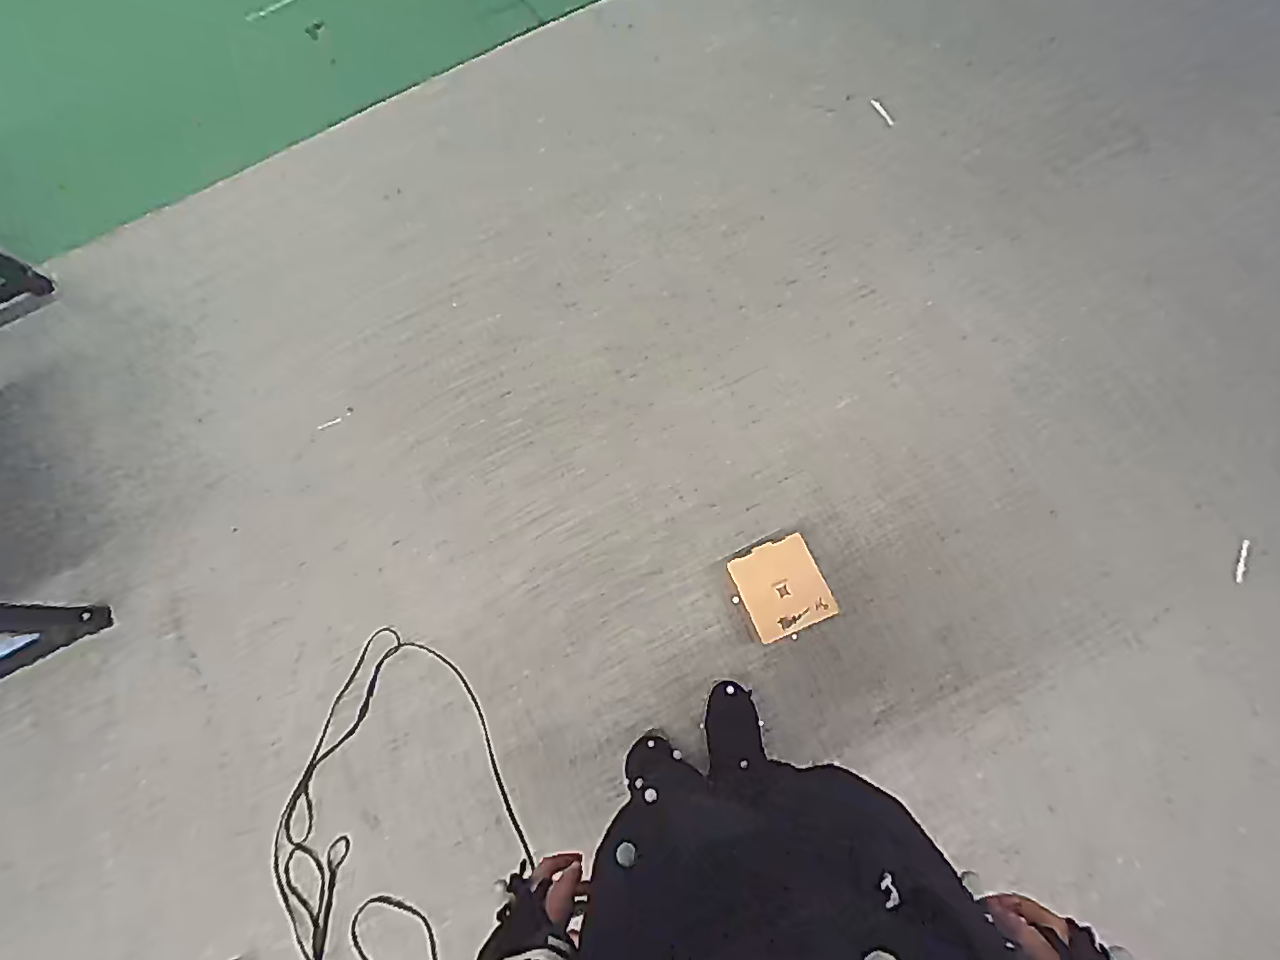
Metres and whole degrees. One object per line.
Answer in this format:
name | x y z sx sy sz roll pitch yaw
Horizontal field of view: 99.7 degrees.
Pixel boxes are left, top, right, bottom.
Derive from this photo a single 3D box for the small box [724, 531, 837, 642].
small box | 0.286 0.233 1.150 0.168 0.176 0.179 -23 73 -1
